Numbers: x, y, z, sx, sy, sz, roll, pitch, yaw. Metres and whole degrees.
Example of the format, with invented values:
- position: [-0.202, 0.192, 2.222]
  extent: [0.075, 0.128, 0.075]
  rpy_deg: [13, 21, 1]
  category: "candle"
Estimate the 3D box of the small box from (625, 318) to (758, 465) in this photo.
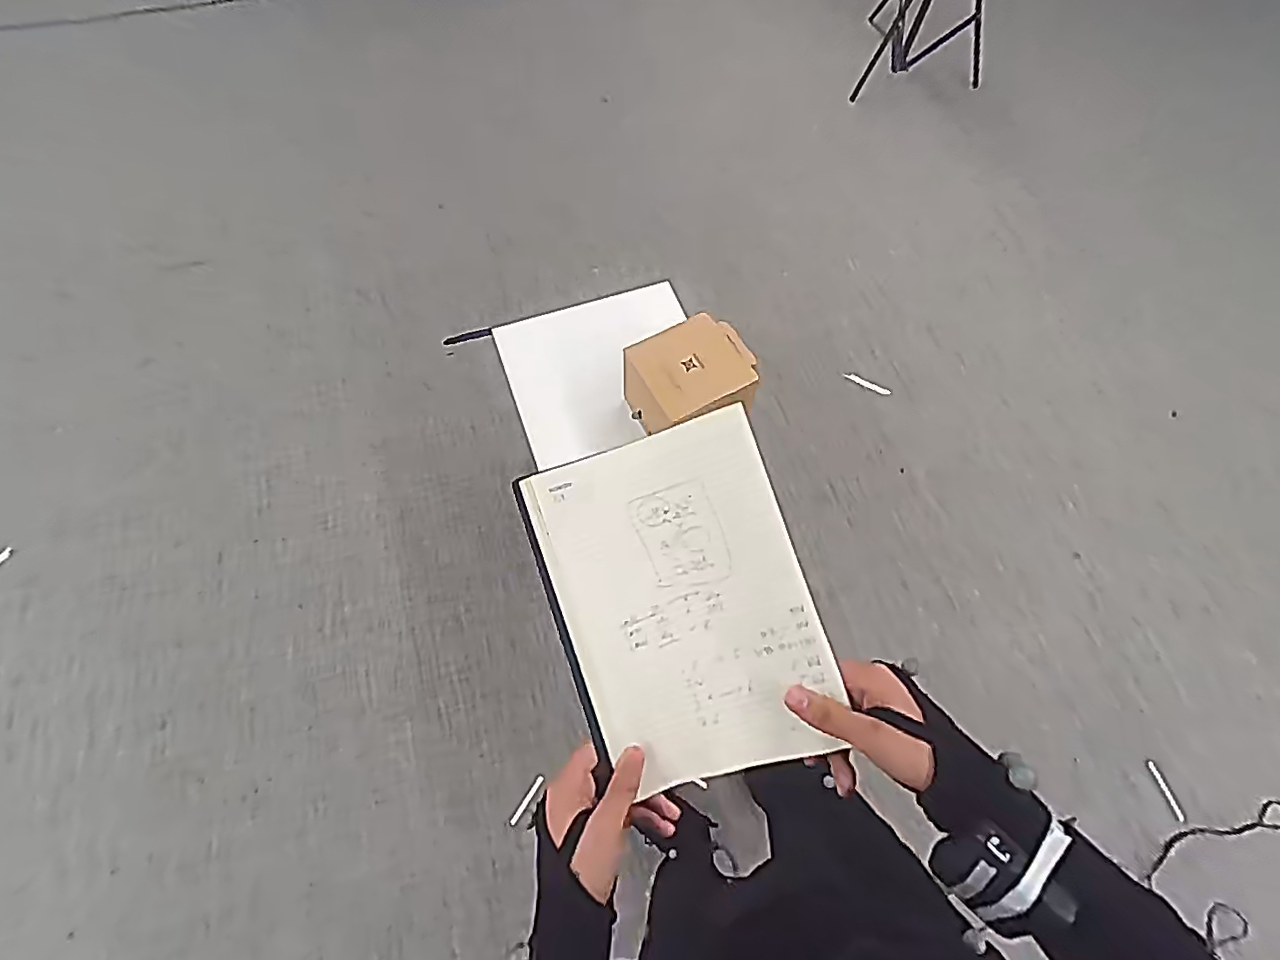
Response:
- position: [0.083, -0.156, 0.988]
  extent: [0.179, 0.176, 0.168]
  rpy_deg: [-27, 70, -12]
  category: "small box"
